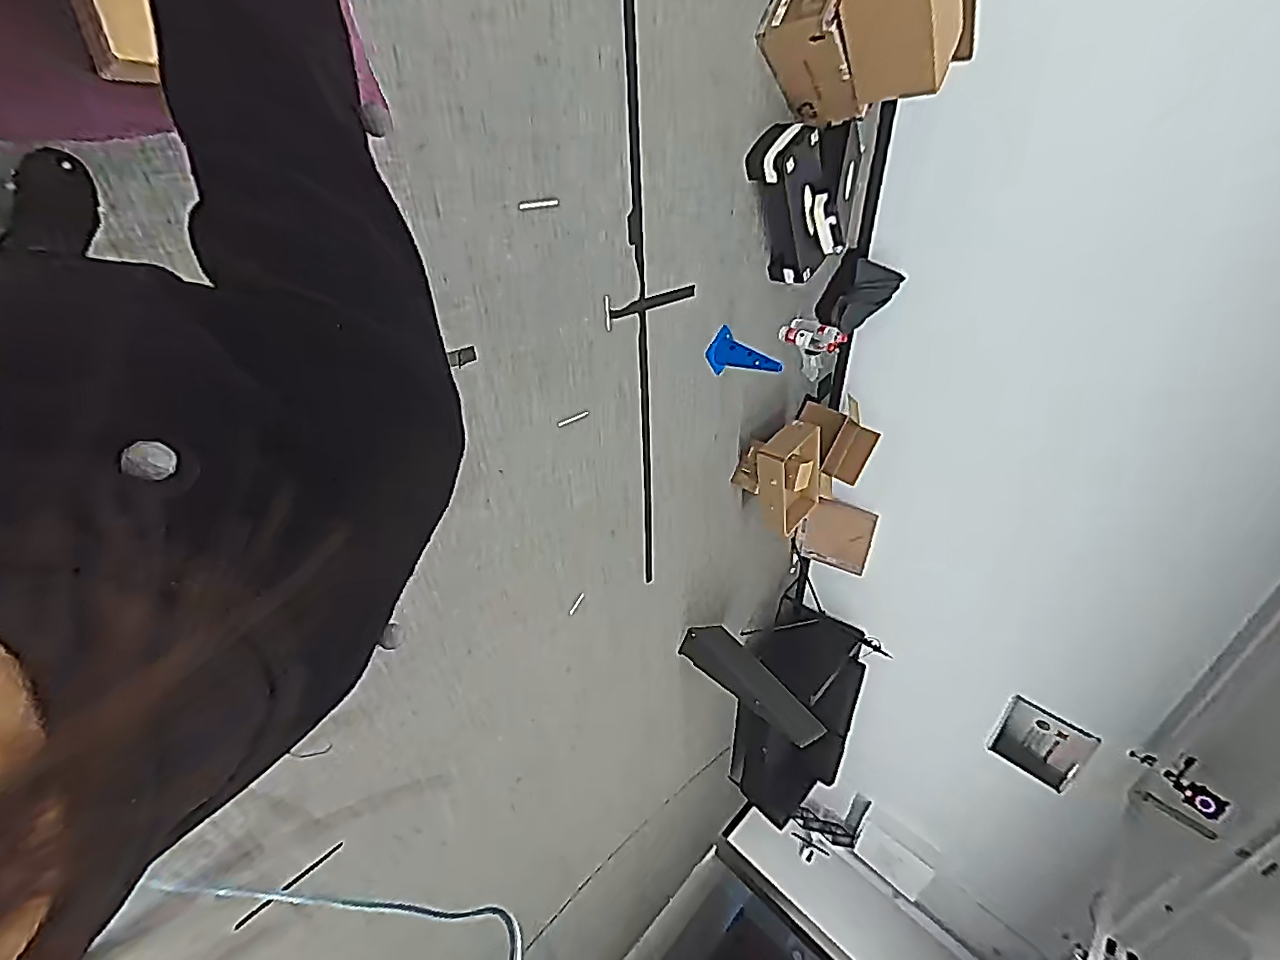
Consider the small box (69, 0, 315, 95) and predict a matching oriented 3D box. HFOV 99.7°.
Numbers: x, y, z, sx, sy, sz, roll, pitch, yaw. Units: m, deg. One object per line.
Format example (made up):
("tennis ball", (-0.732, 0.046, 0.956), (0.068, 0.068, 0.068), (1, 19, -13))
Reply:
("small box", (-0.450, -0.492, 0.521), (0.168, 0.176, 0.179), (-24, 129, -38))
